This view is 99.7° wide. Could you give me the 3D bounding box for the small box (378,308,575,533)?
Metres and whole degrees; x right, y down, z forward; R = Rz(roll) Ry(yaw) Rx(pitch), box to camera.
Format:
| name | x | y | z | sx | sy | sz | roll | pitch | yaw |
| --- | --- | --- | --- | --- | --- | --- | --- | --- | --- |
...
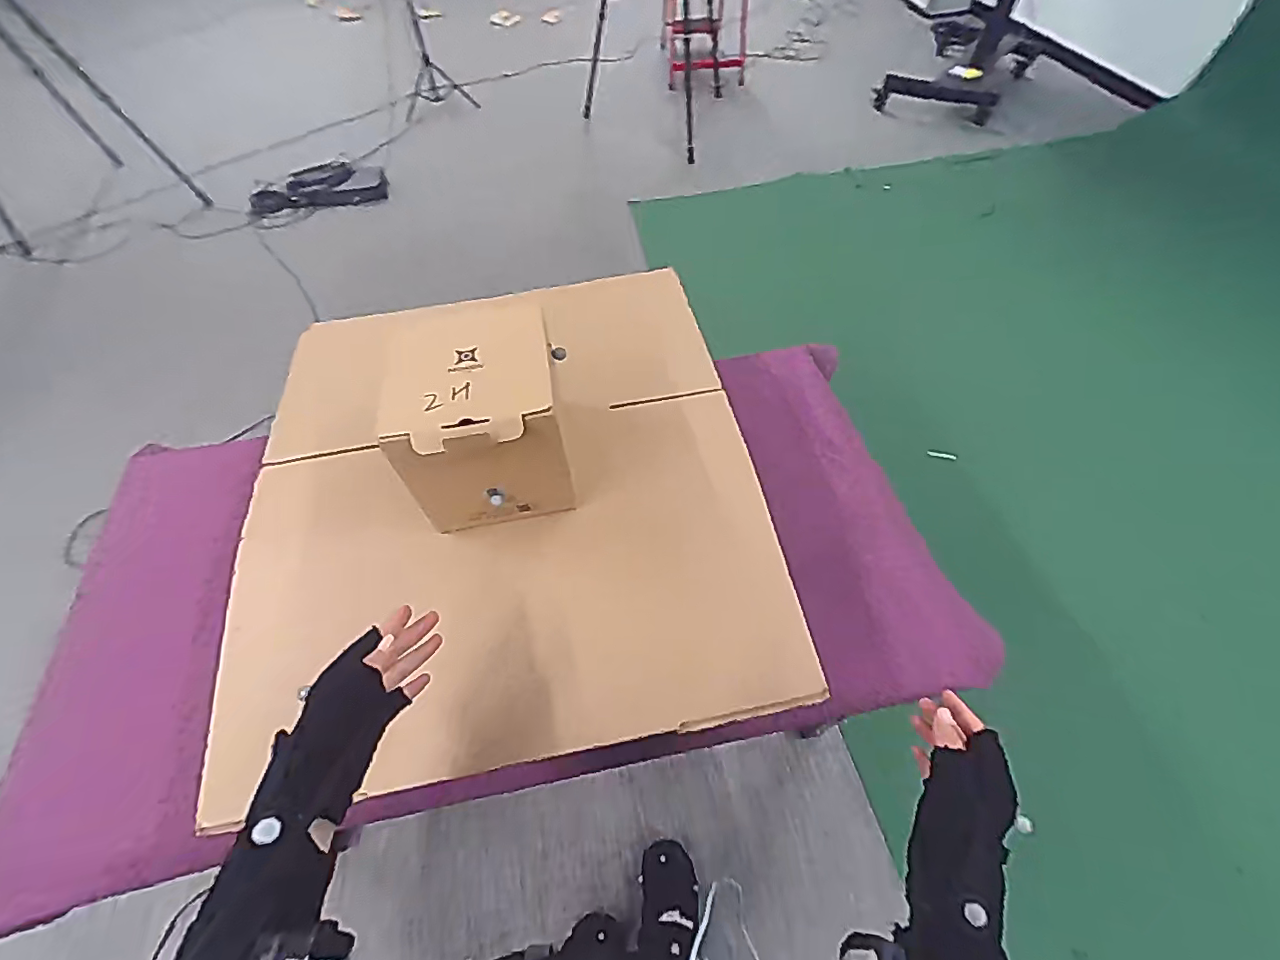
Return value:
| name | x | y | z | sx | sy | sz | roll | pitch | yaw |
| --- | --- | --- | --- | --- | --- | --- | --- | --- | --- |
| small box | -0.172 | -0.065 | 0.614 | 0.168 | 0.176 | 0.179 | -10 | 55 | -4 |
